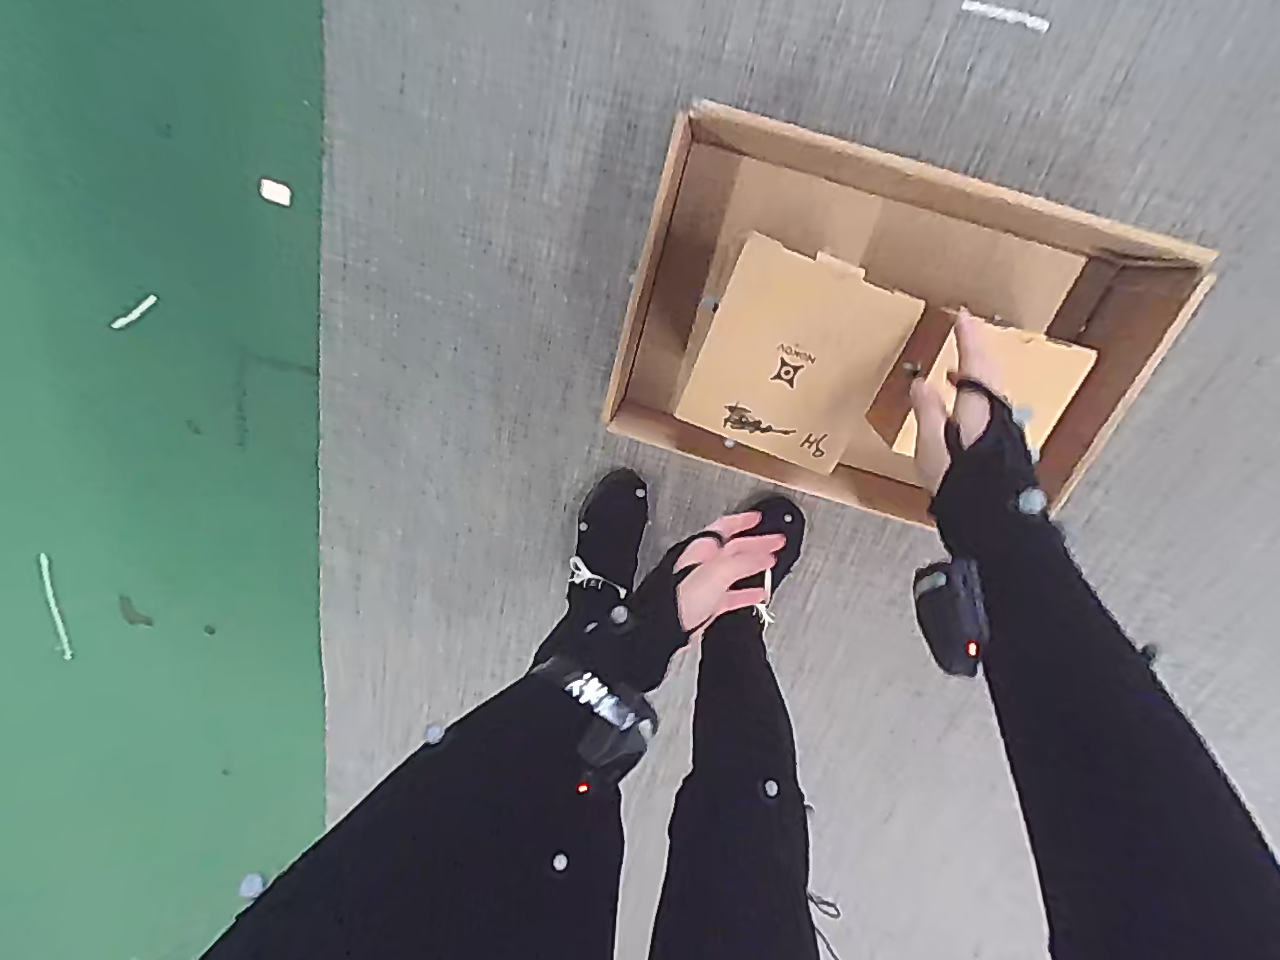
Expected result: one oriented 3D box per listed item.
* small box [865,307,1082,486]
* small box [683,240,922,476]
[{"bbox_3d":[0.425,-0.121,0.733,0.168,0.176,0.179,16,114,0],"label":"small box"},{"bbox_3d":[0.151,-0.136,0.577,0.168,0.176,0.179,21,113,-3],"label":"small box"}]
